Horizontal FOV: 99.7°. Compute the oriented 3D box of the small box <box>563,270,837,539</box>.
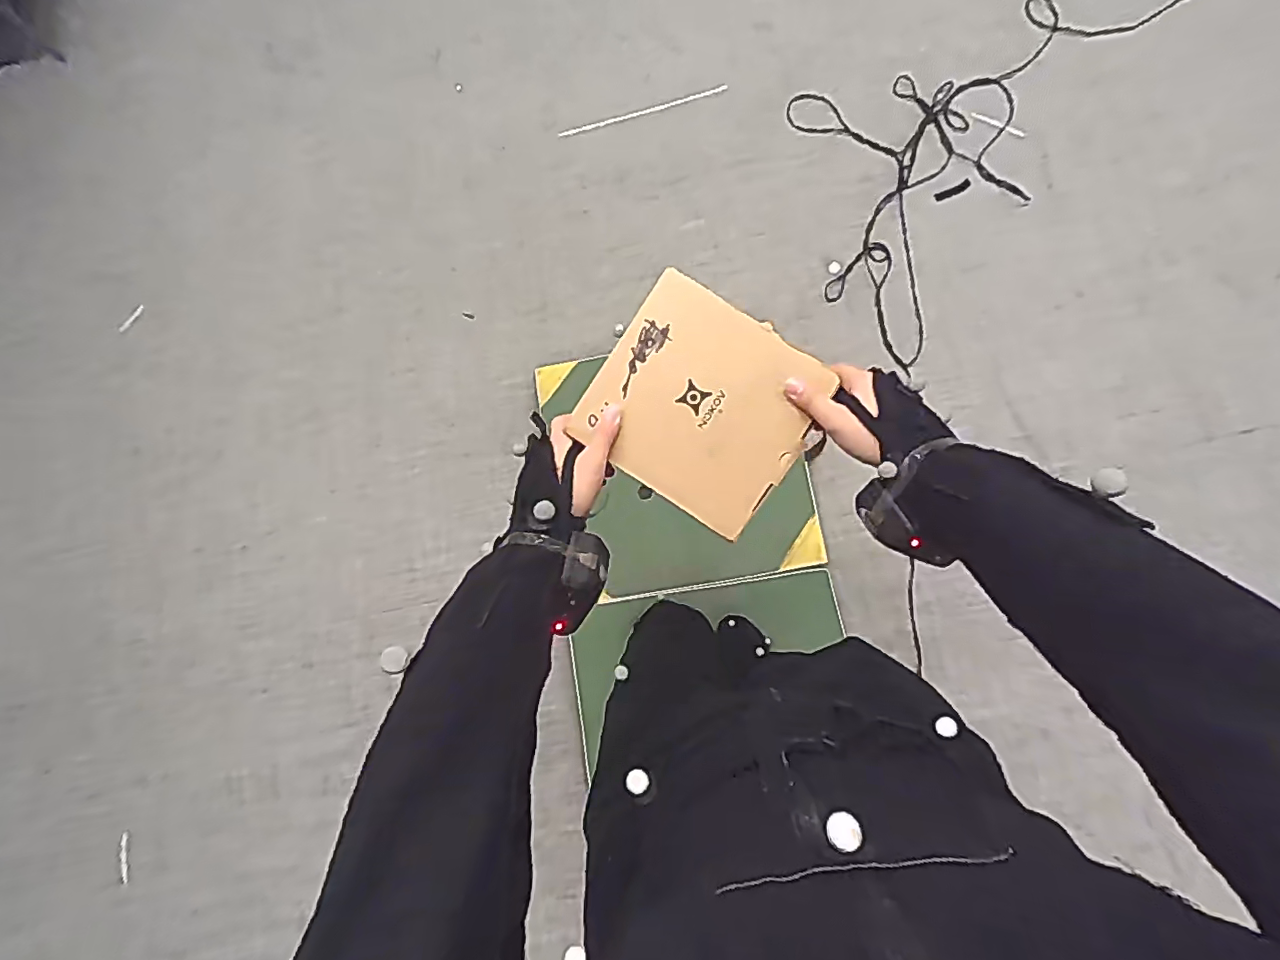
[{"bbox_3d":[0.052,-0.065,0.533,0.179,0.176,0.168,34,91,1],"label":"small box"}]
